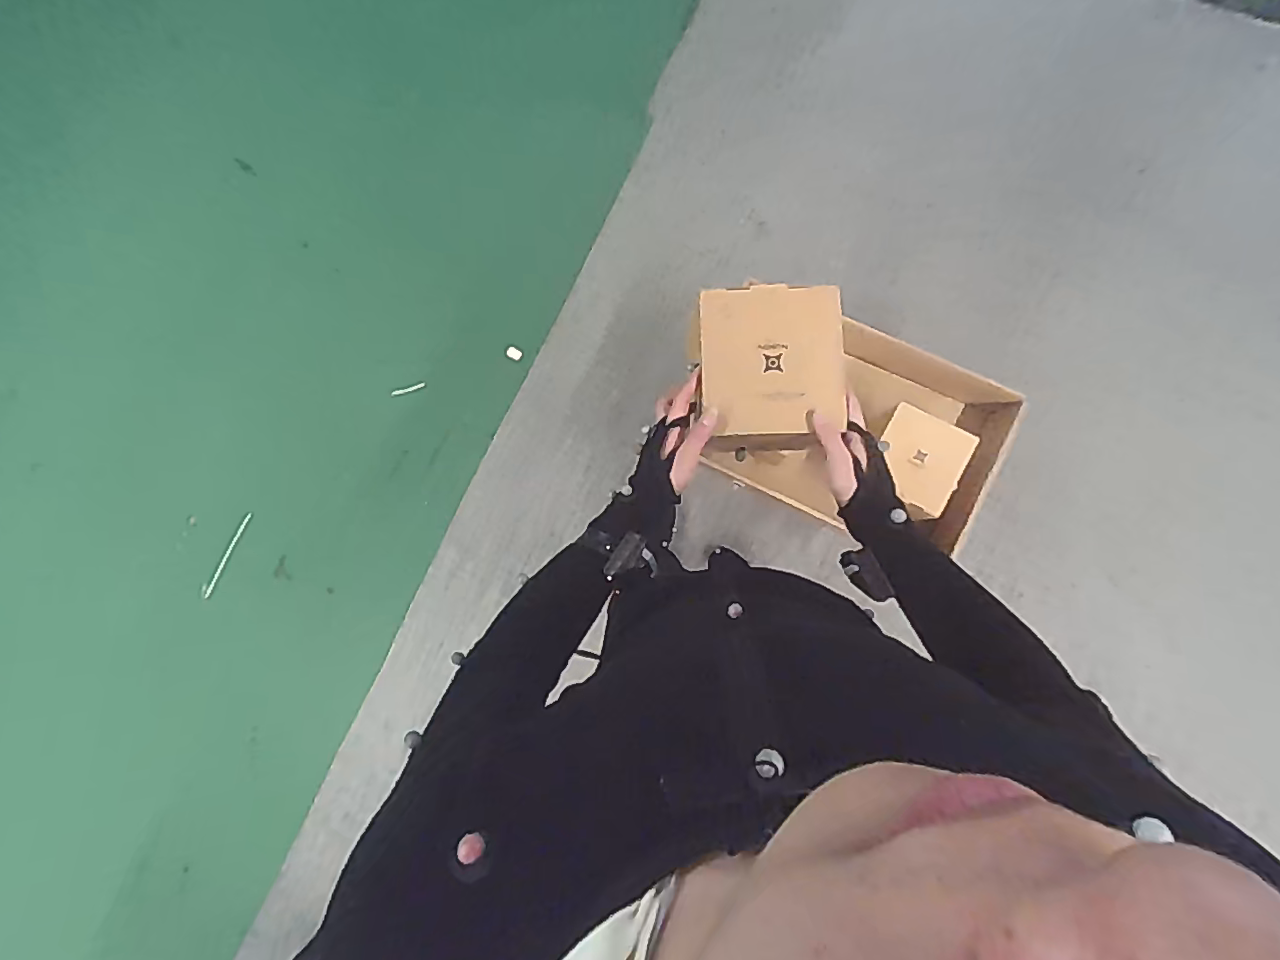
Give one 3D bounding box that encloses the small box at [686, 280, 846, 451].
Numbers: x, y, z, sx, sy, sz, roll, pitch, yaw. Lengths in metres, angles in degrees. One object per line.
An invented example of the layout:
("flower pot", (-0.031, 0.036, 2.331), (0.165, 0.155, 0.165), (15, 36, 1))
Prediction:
("small box", (0.150, -0.137, 0.696), (0.168, 0.176, 0.179), (-2, 85, 0))
